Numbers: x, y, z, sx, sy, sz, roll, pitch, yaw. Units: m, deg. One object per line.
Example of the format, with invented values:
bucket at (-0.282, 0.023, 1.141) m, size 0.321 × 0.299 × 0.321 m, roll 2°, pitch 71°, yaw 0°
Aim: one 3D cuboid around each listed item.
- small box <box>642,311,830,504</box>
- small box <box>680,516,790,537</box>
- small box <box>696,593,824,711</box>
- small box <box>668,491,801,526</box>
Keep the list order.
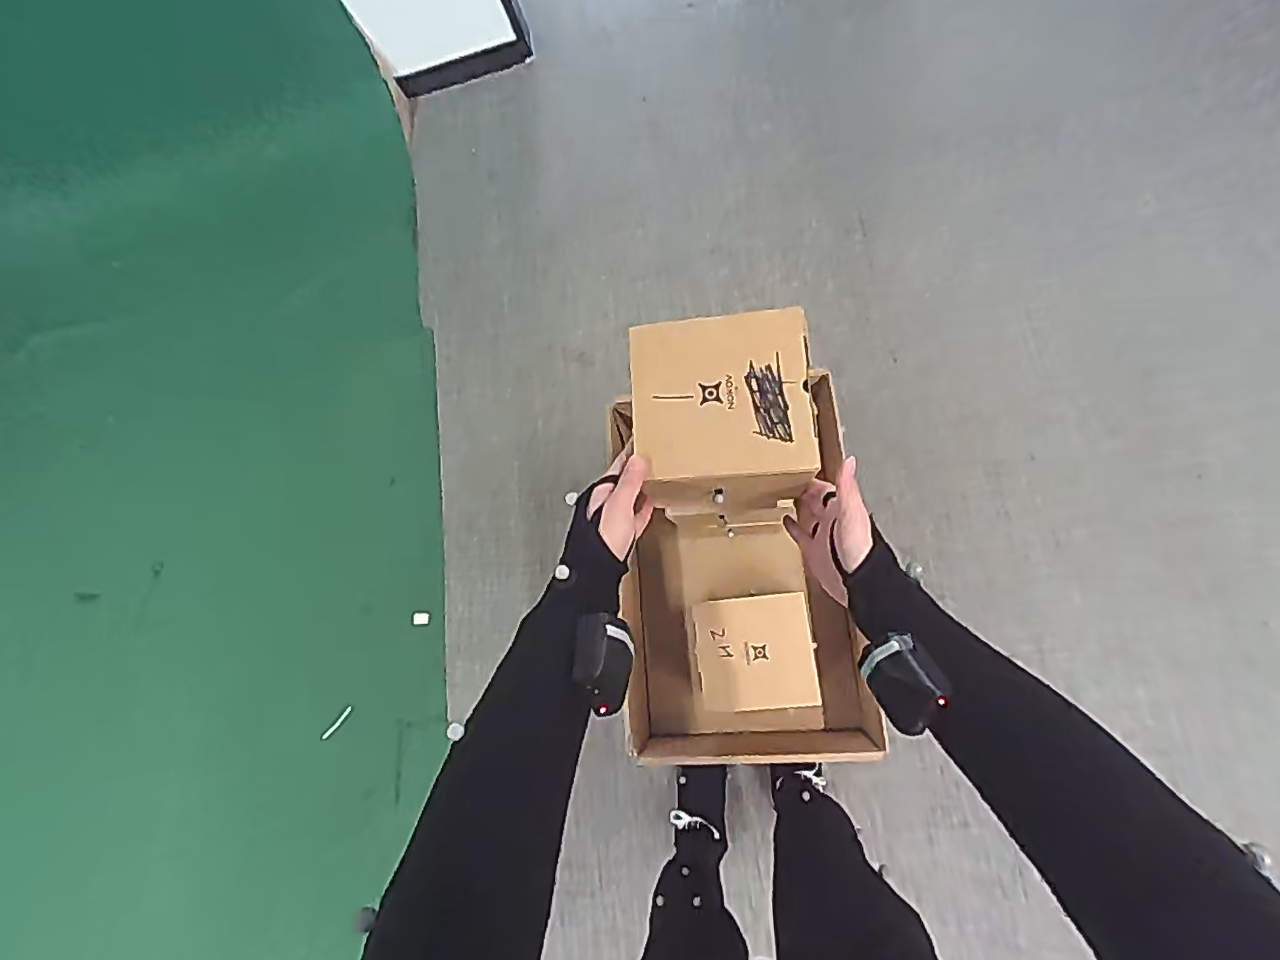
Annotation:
small box at (0.099, -0.068, 0.603) m, size 0.179 × 0.176 × 0.168 m, roll -3°, pitch 78°, yaw 7°
small box at (0.165, 0.011, 0.959) m, size 0.179 × 0.176 × 0.168 m, roll -3°, pitch 79°, yaw 9°
small box at (0.191, 0.276, 0.894) m, size 0.179 × 0.176 × 0.168 m, roll -7°, pitch 76°, yaw 9°
small box at (0.137, -0.024, 0.801) m, size 0.179 × 0.176 × 0.168 m, roll -4°, pitch 79°, yaw 10°
